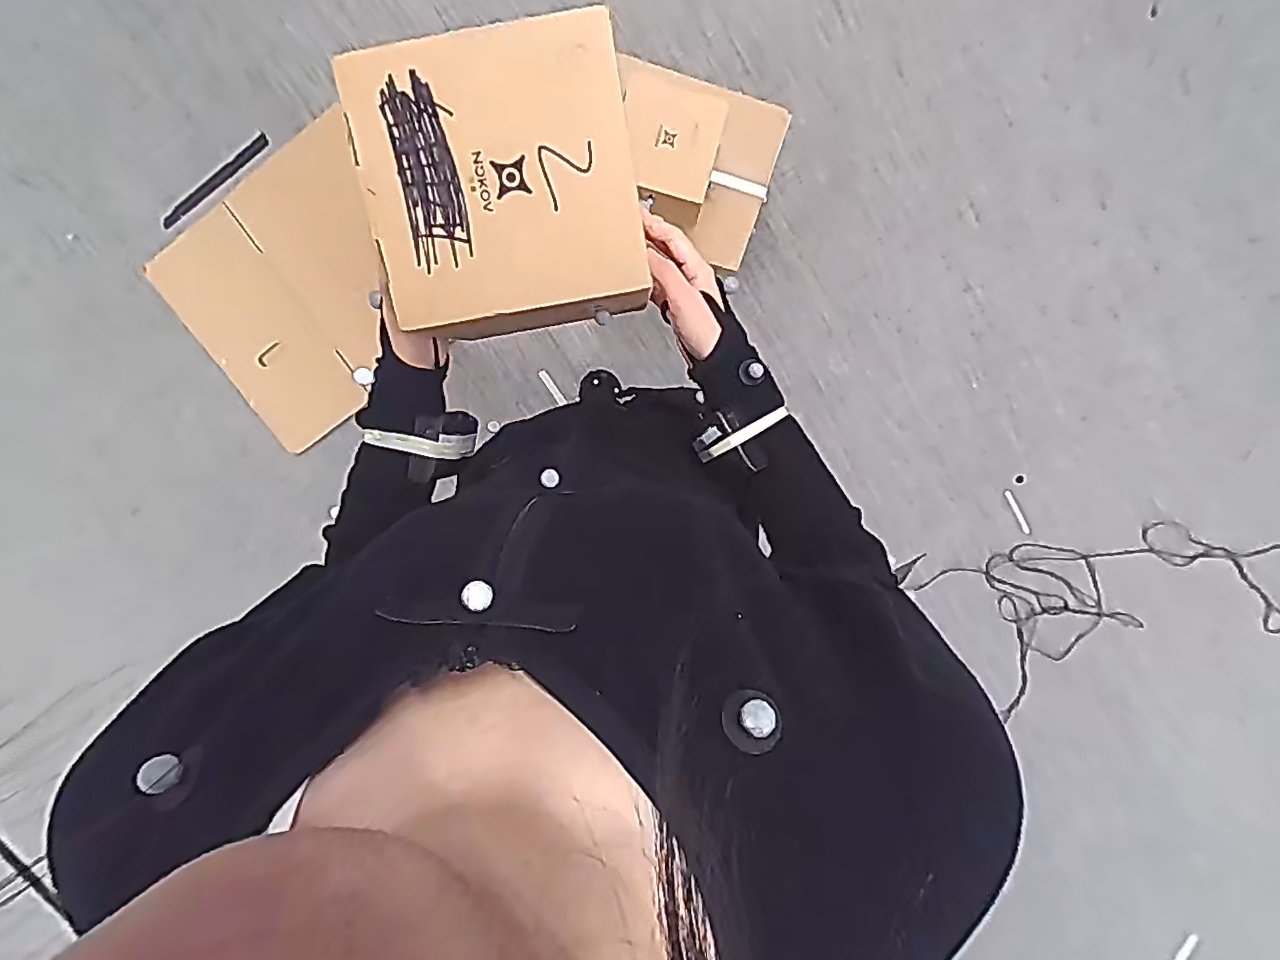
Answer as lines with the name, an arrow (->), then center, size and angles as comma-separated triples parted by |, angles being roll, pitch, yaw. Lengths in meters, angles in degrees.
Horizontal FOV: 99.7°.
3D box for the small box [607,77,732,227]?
small box -> 0.050, -0.579, 0.979 | 0.179, 0.176, 0.168 | 15, 103, -2
